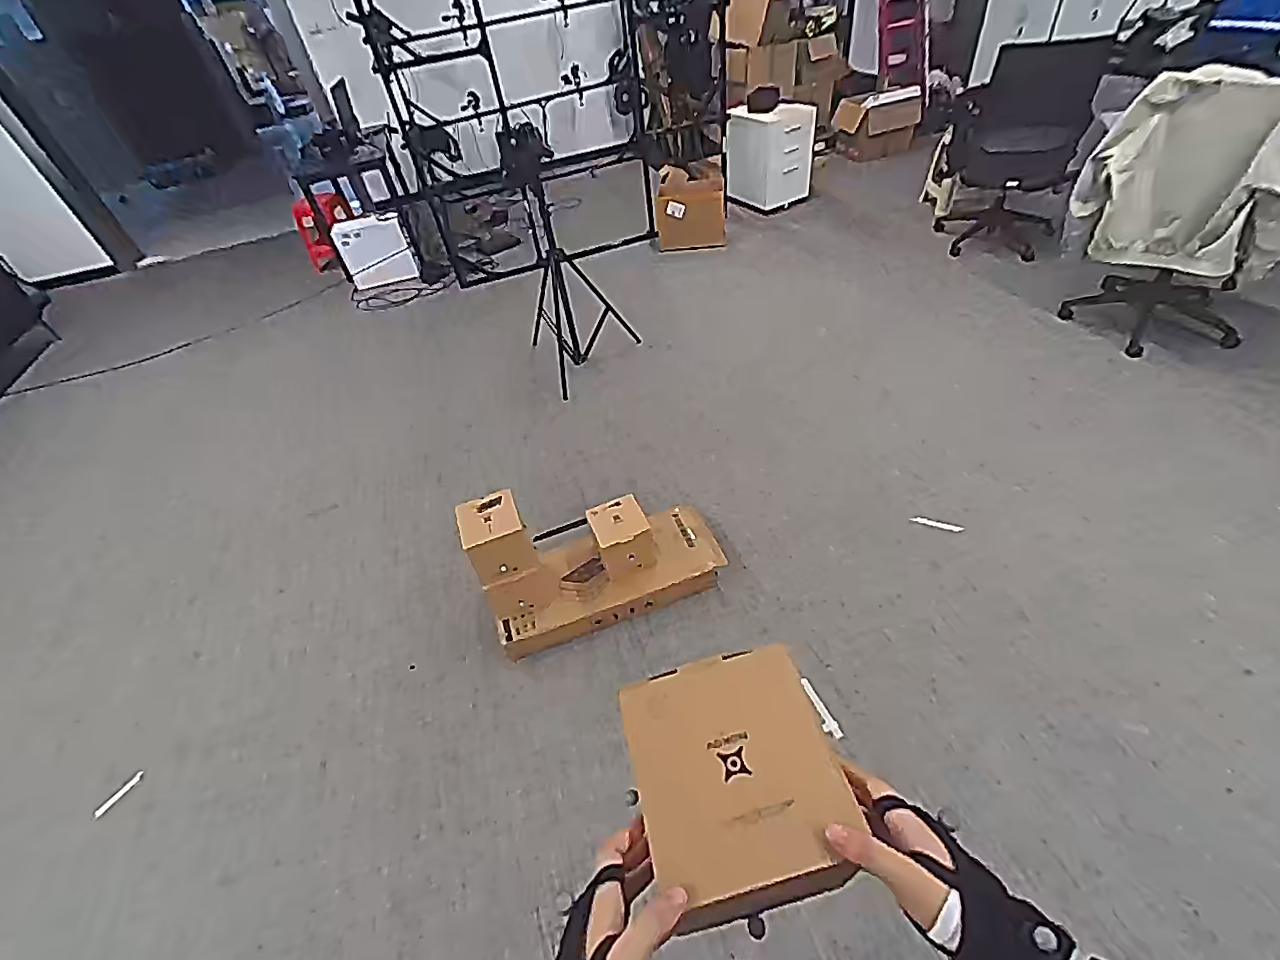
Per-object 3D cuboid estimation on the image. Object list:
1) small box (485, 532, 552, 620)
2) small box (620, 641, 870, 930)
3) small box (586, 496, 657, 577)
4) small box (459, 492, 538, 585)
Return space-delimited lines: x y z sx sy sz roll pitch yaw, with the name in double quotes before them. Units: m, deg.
"small box" -0.383 0.297 1.672 0.168 0.176 0.179 -19 44 -9
"small box" 0.083 0.286 0.509 0.168 0.176 0.179 -14 45 -4
"small box" -0.055 0.188 1.729 0.168 0.176 0.179 -21 45 -9
"small box" -0.410 0.170 1.570 0.168 0.176 0.179 -20 44 -10
